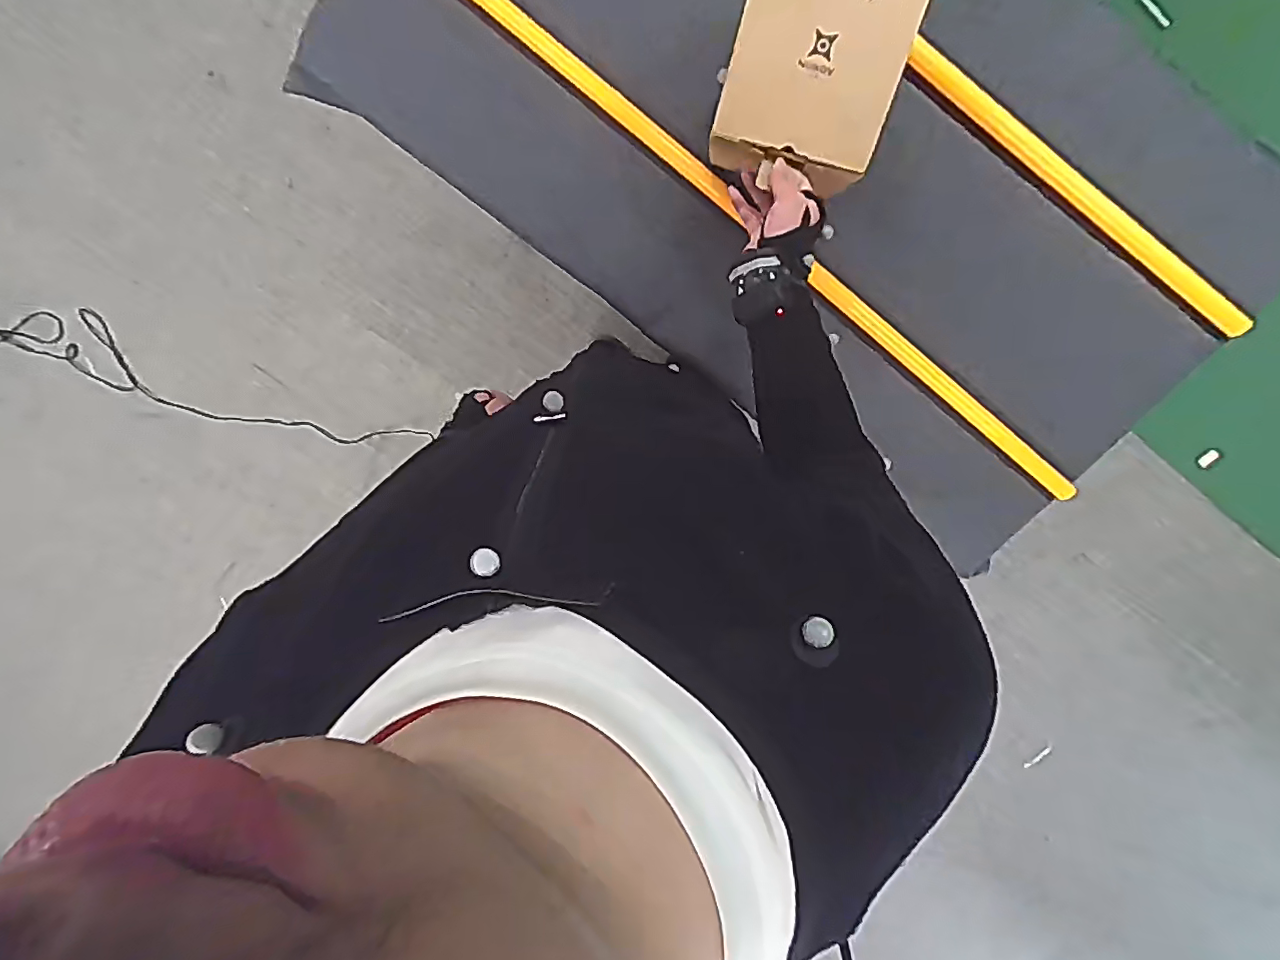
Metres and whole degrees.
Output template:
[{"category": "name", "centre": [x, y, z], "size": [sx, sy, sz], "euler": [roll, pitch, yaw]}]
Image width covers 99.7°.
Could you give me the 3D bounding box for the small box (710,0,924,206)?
[{"category": "small box", "centre": [0.184, -0.429, 0.615], "size": [0.168, 0.176, 0.179], "euler": [15, 110, 3]}]
